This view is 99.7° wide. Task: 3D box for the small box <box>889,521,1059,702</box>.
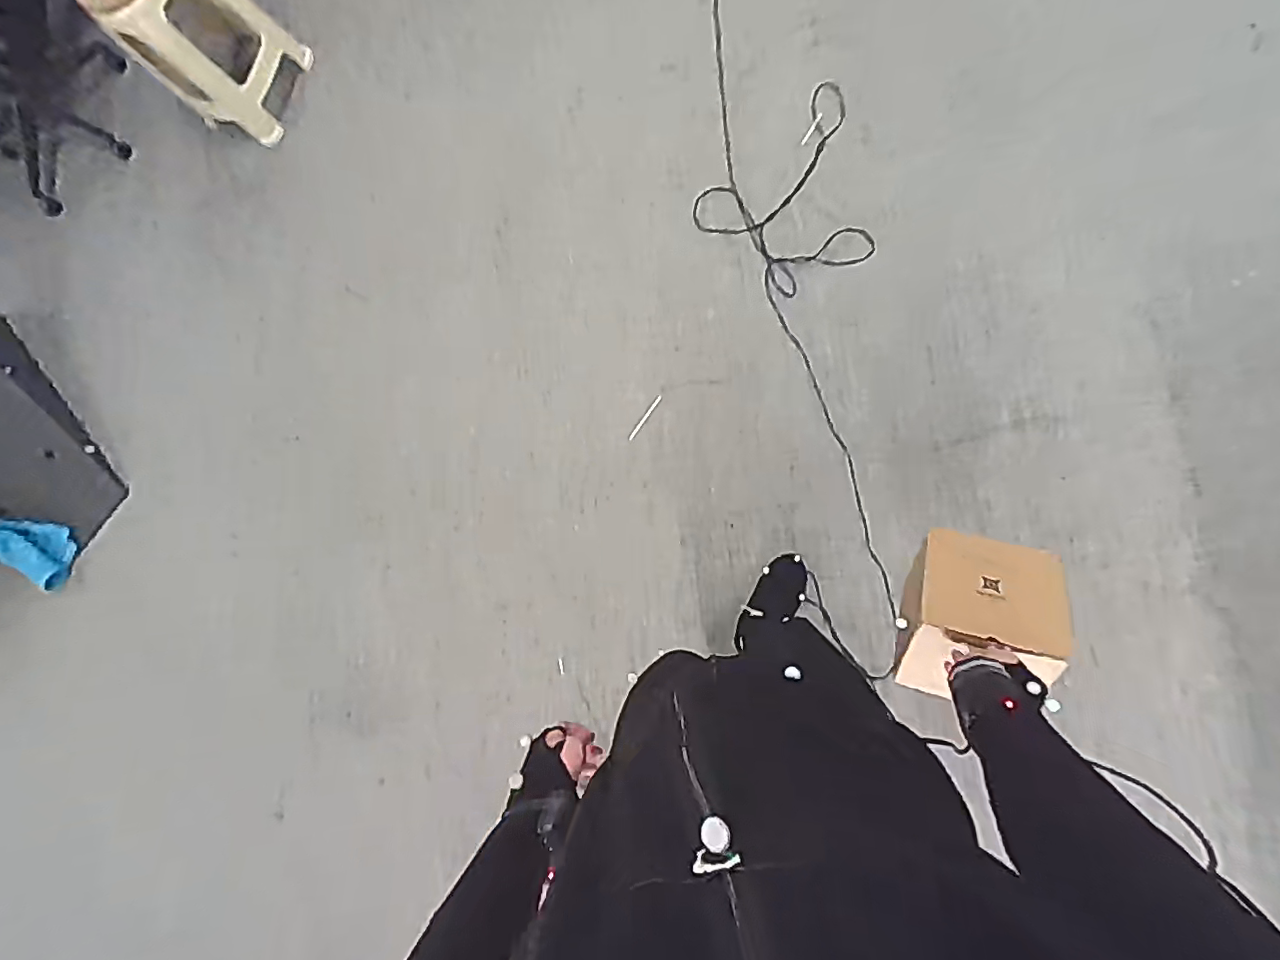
[{"bbox_3d":[0.470,0.192,0.785,0.168,0.176,0.179,12,47,19],"label":"small box"}]
